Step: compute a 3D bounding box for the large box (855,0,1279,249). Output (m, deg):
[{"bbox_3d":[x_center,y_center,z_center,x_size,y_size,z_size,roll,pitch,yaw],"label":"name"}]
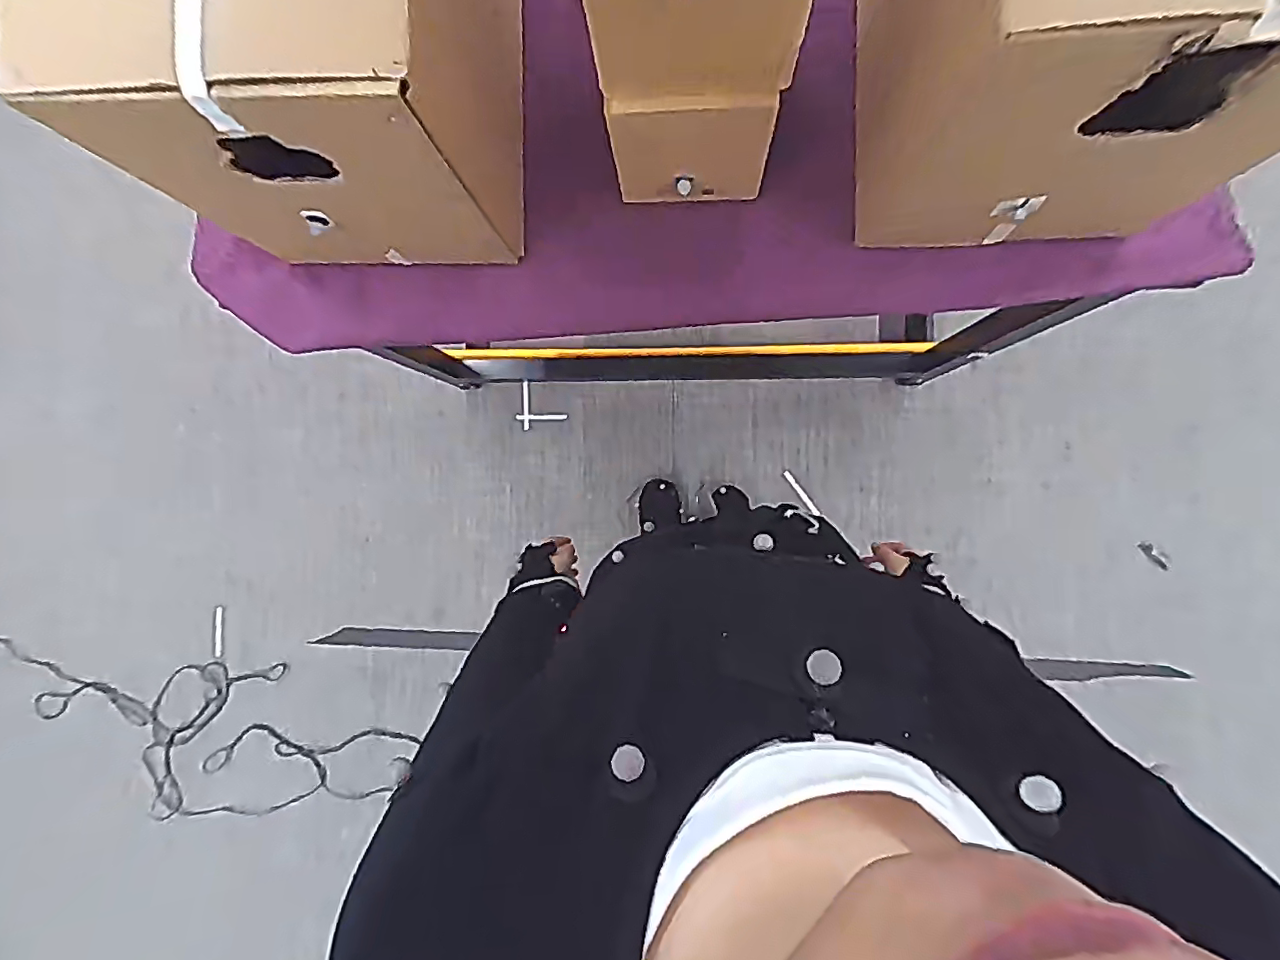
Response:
[{"bbox_3d":[0.393,-0.476,0.486,0.320,0.320,0.408,0,89,5],"label":"large box"}]
